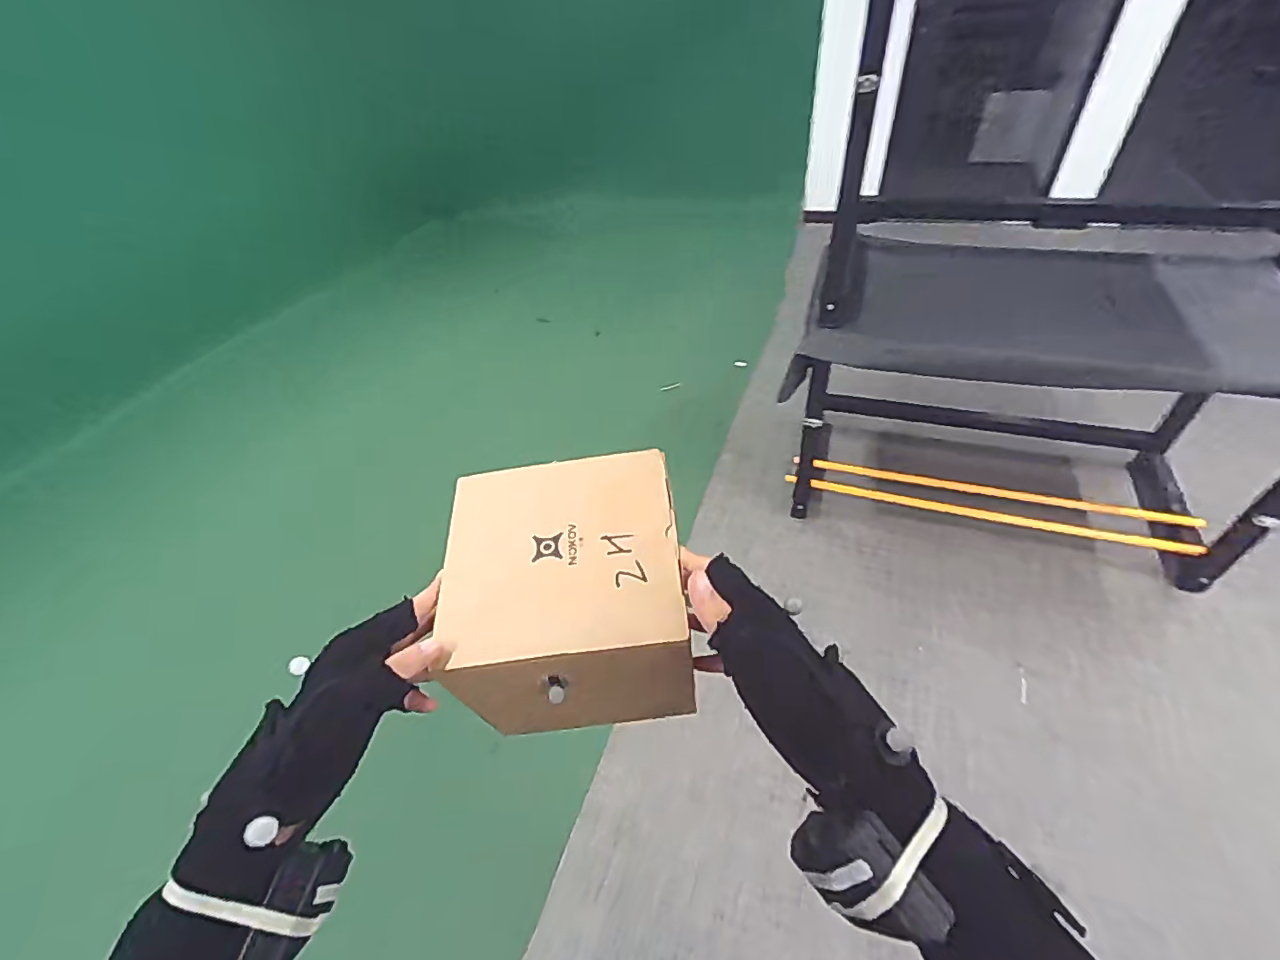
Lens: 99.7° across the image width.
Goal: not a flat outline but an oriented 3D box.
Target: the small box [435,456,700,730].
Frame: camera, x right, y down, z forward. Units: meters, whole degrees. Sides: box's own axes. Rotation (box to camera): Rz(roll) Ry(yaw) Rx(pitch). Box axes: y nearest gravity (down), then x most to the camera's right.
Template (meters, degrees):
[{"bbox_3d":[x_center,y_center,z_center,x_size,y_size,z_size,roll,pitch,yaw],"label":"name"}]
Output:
[{"bbox_3d":[-0.047,0.103,0.465,0.179,0.176,0.168,-7,52,2],"label":"small box"}]
